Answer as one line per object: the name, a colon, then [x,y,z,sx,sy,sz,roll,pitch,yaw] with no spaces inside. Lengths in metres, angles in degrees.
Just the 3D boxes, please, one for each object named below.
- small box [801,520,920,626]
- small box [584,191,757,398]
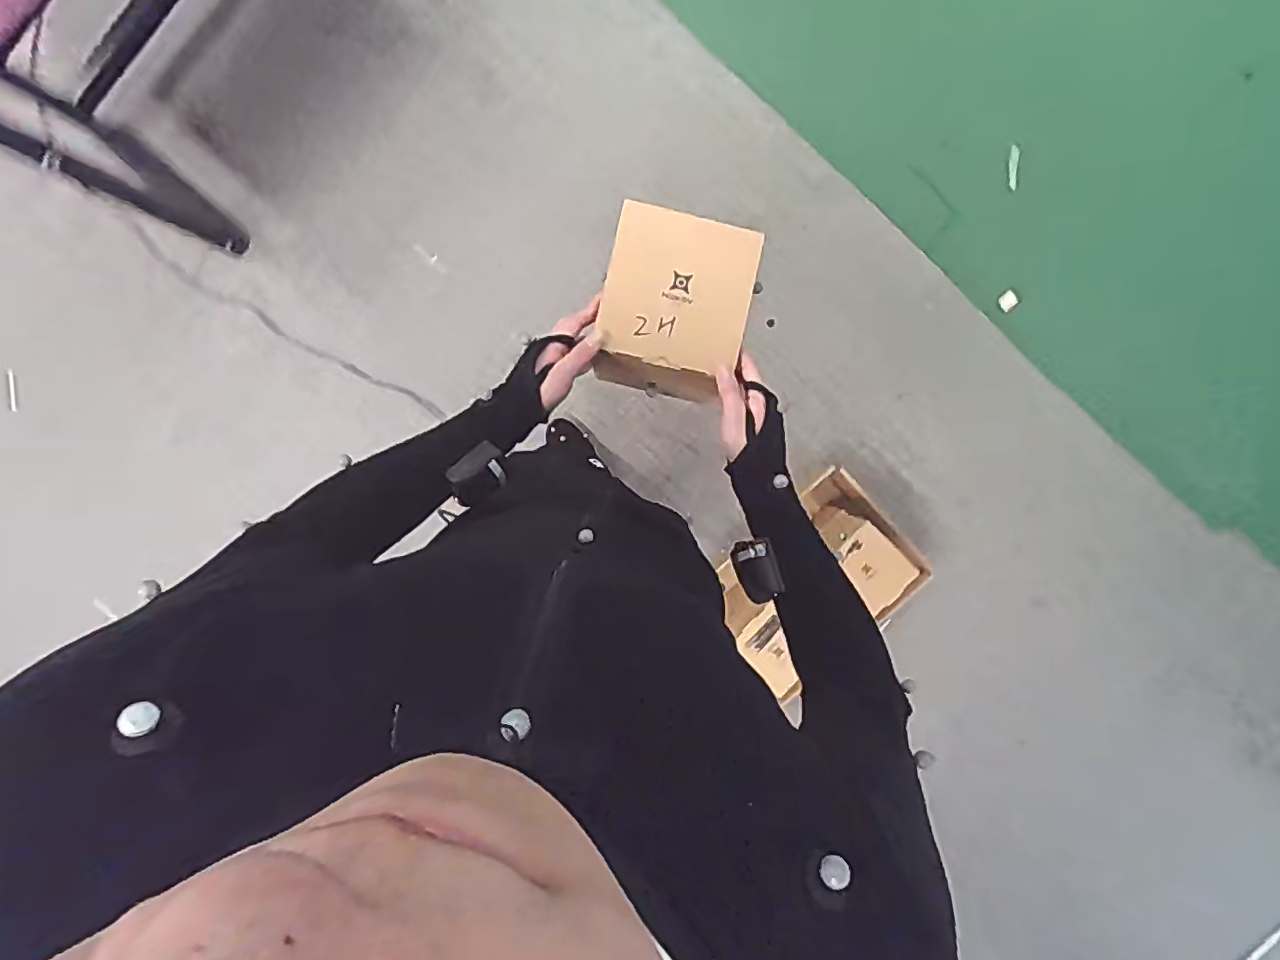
small box: [0.523,0.214,1.307,0.168,0.176,0.179,-44,92,2]
small box: [0.030,-0.215,0.673,0.168,0.176,0.179,12,88,-2]
